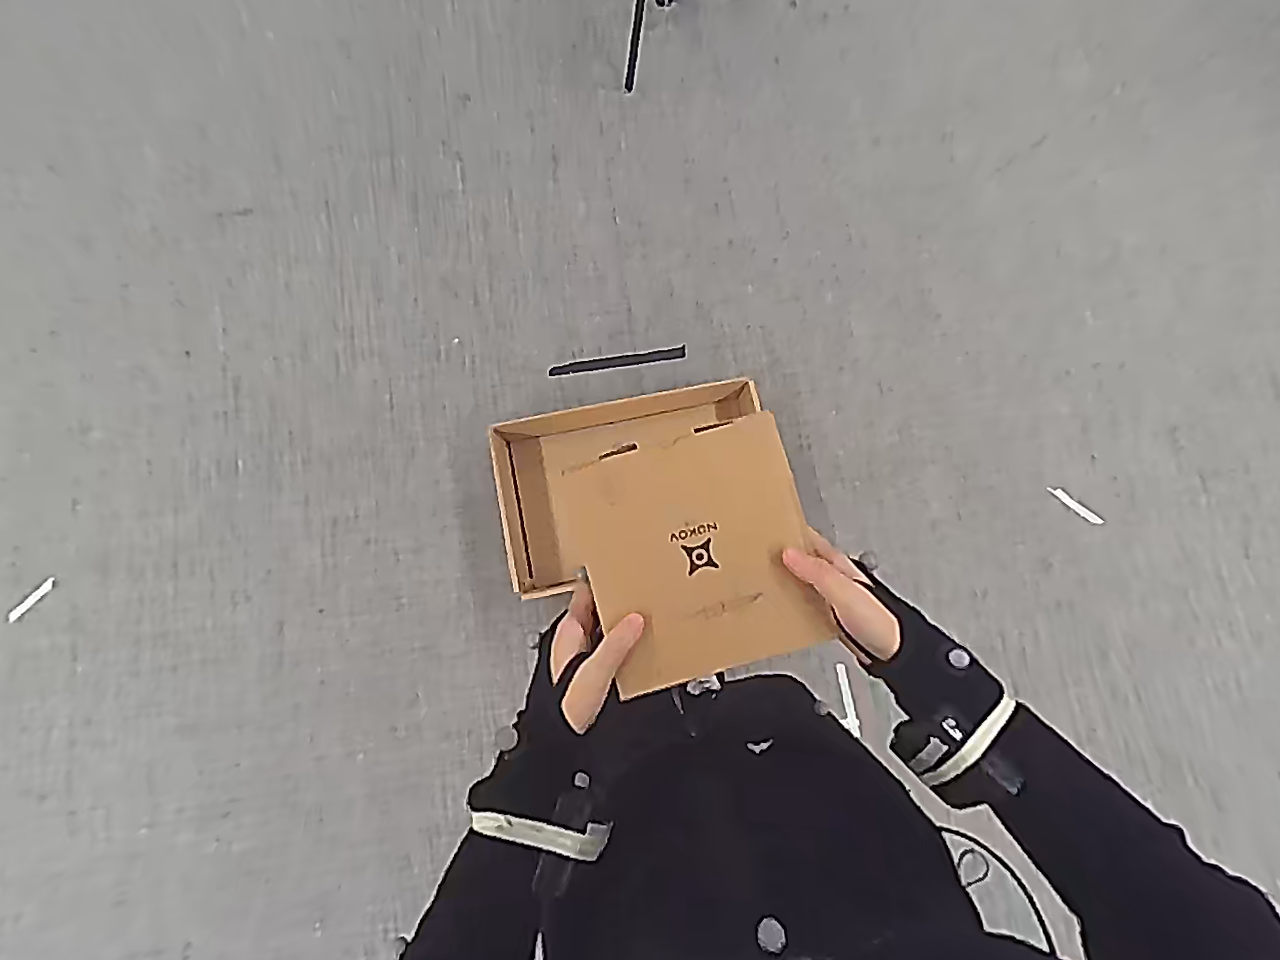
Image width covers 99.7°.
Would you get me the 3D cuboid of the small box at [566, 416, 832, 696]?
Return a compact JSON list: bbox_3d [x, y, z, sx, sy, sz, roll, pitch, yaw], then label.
[{"bbox_3d":[0.040,0.060,0.478,0.168,0.176,0.179,-15,86,-2],"label":"small box"}]
